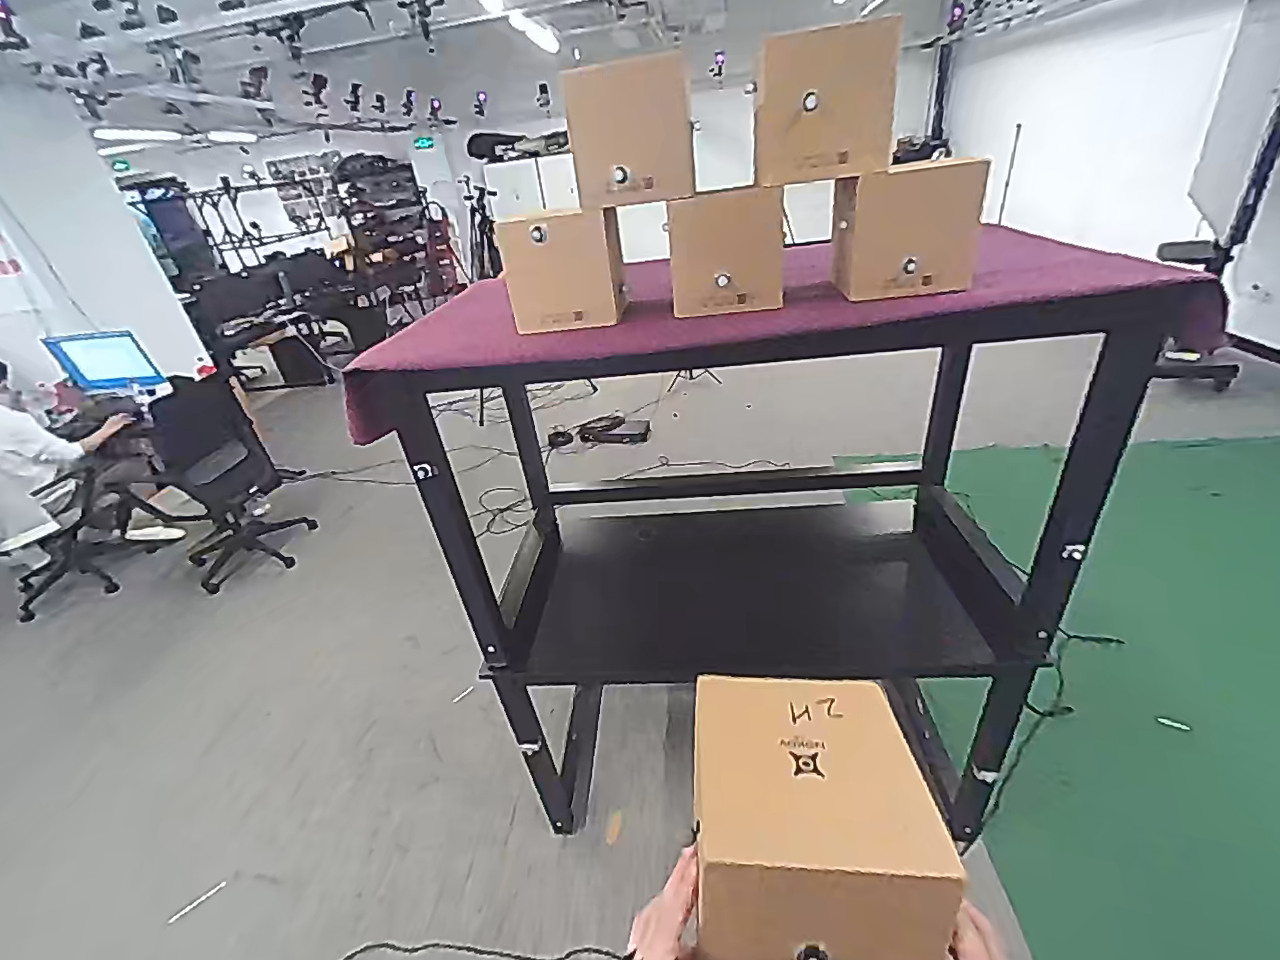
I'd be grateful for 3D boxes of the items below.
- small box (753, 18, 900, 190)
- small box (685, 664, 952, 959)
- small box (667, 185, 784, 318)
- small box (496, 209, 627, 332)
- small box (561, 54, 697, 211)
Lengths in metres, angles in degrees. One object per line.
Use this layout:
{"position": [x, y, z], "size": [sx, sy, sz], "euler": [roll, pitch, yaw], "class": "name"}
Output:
{"position": [0.250, -0.510, 0.761], "size": [0.168, 0.176, 0.179], "euler": [-3, 29, 9], "class": "small box"}
{"position": [0.123, 0.279, 0.443], "size": [0.168, 0.176, 0.179], "euler": [1, 22, 5], "class": "small box"}
{"position": [0.134, -0.364, 0.861], "size": [0.168, 0.176, 0.179], "euler": [-3, 30, 8], "class": "small box"}
{"position": [-0.117, -0.349, 0.892], "size": [0.168, 0.176, 0.179], "euler": [-4, 29, 7], "class": "small box"}
{"position": [-0.005, -0.500, 0.800], "size": [0.168, 0.176, 0.179], "euler": [-3, 30, 10], "class": "small box"}
